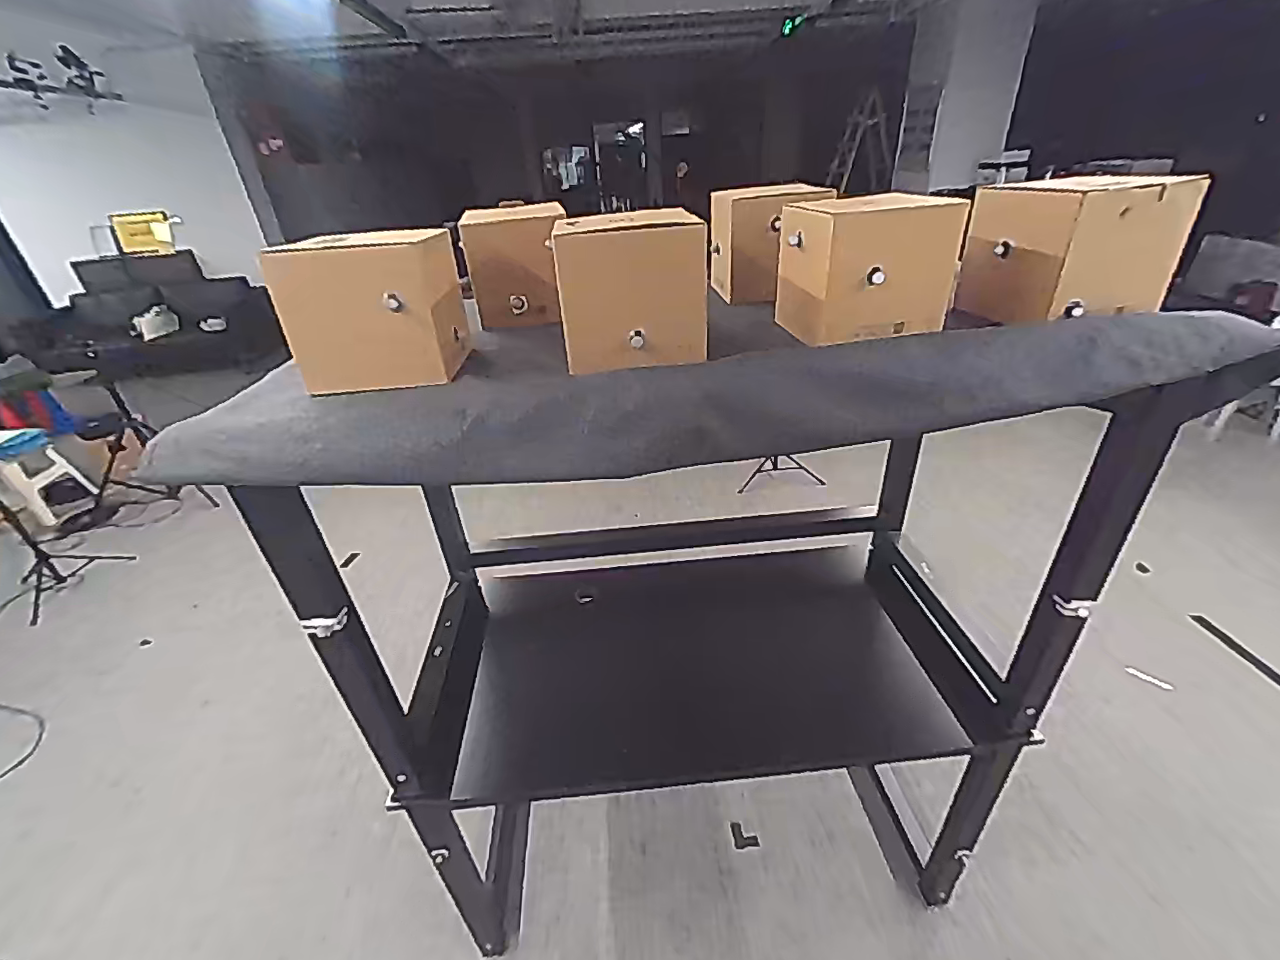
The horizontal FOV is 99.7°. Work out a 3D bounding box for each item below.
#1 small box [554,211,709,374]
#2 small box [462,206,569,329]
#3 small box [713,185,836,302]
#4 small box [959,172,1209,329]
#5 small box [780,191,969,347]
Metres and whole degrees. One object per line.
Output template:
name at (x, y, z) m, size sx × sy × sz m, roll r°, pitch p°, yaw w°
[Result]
small box at (-0.012, -0.248, 0.710) m, size 0.179 × 0.176 × 0.168 m, roll -5°, pitch 30°, yaw -3°
small box at (-0.198, -0.370, 0.936) m, size 0.168 × 0.176 × 0.179 m, roll -10°, pitch 31°, yaw -7°
small box at (0.231, -0.423, 0.967) m, size 0.179 × 0.176 × 0.168 m, roll -5°, pitch 32°, yaw -1°
small box at (0.569, -0.306, 0.725) m, size 0.168 × 0.176 × 0.179 m, roll -9°, pitch 30°, yaw -6°
small box at (0.296, -0.281, 0.724) m, size 0.168 × 0.176 × 0.179 m, roll -7°, pitch 30°, yaw -3°
